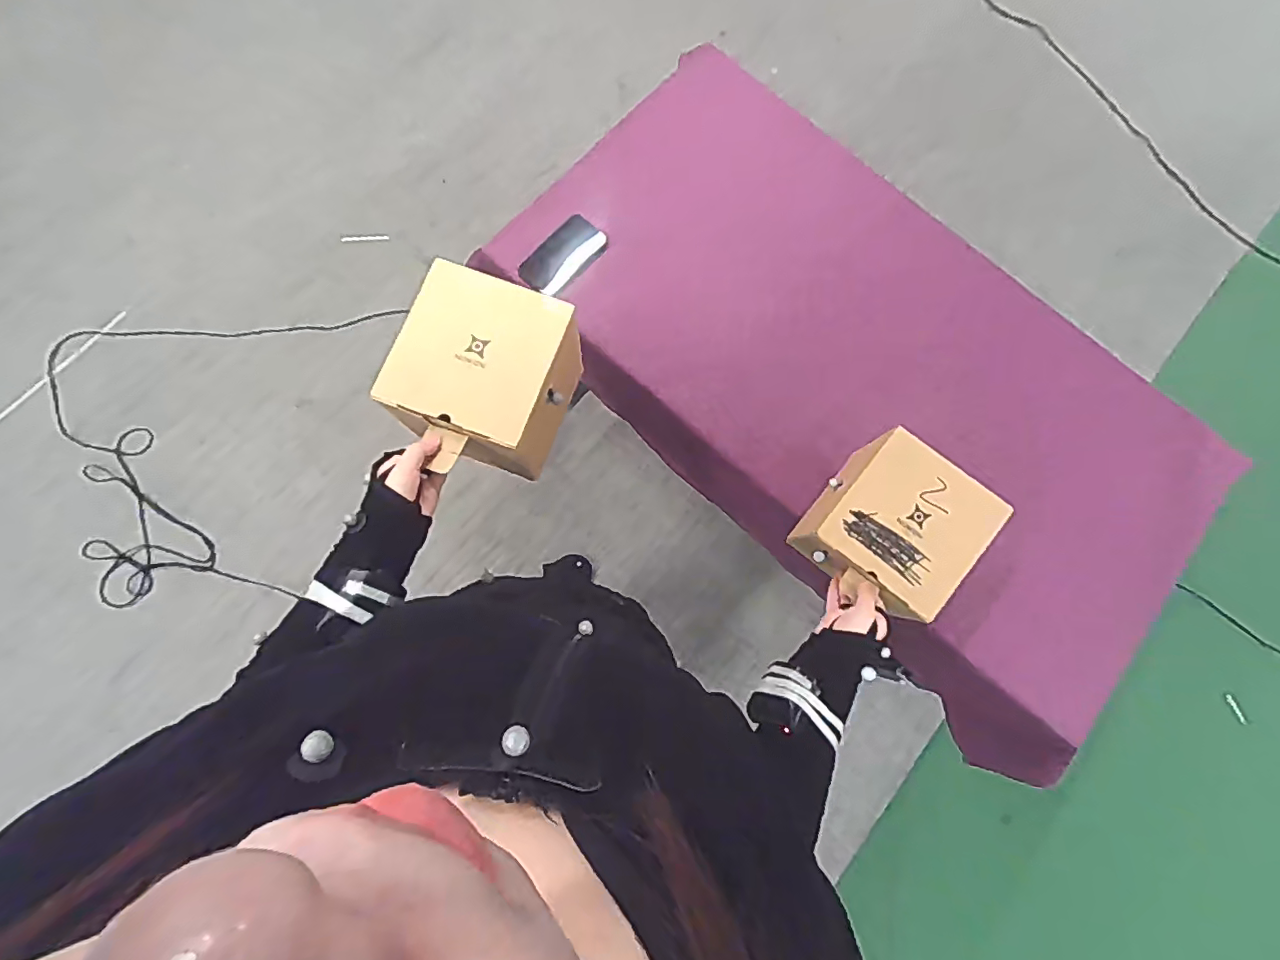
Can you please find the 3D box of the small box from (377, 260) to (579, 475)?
[{"bbox_3d":[-0.180,-0.124,0.663,0.168,0.176,0.179,20,79,1],"label":"small box"}]
